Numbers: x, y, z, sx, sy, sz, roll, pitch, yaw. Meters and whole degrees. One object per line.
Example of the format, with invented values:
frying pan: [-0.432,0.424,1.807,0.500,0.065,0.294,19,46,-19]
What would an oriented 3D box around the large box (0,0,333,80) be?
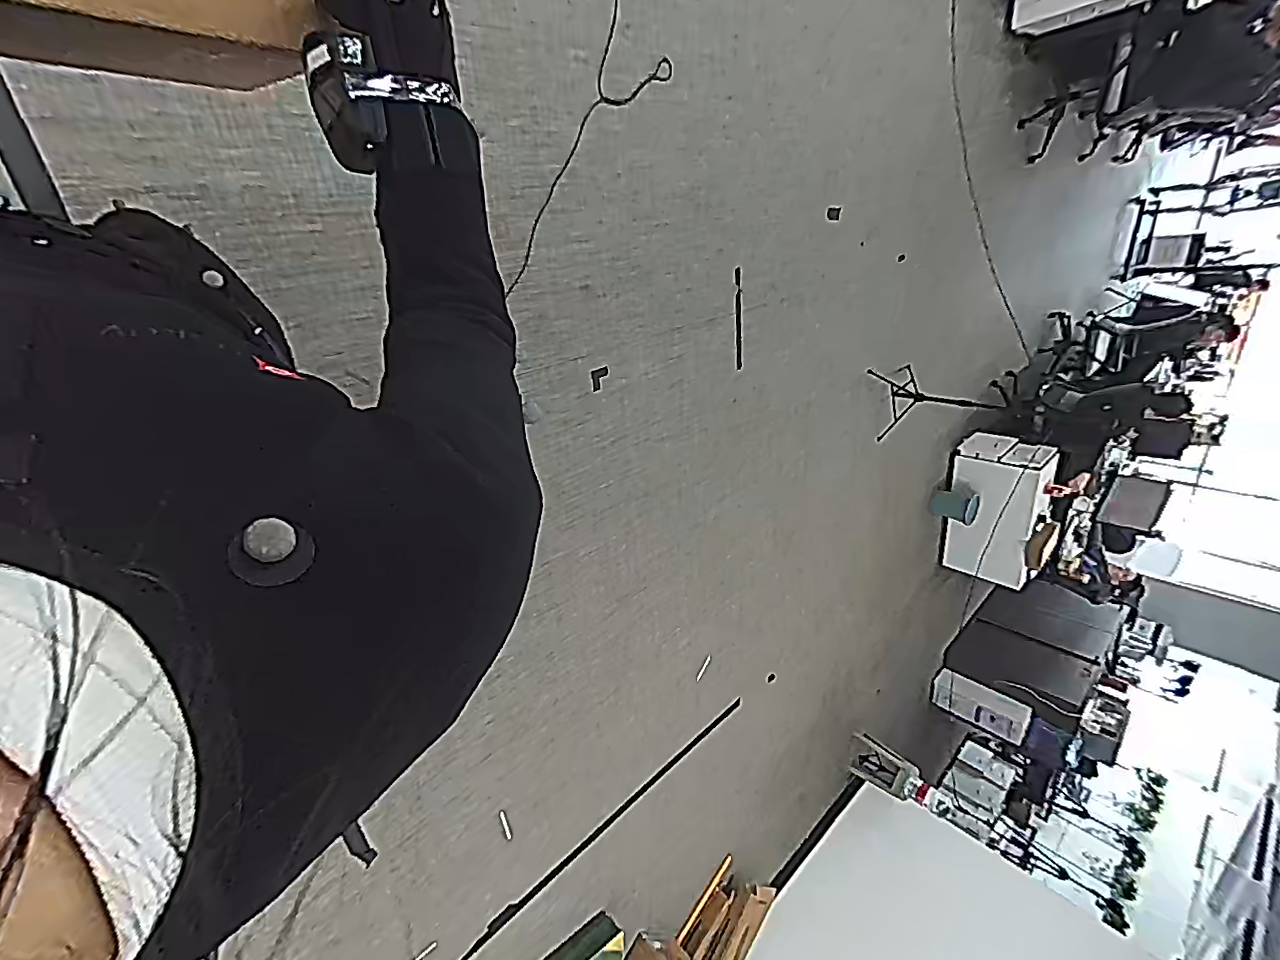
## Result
large box: [-0.439,-0.420,0.260,0.408,0.320,0.320,-20,128,-37]
